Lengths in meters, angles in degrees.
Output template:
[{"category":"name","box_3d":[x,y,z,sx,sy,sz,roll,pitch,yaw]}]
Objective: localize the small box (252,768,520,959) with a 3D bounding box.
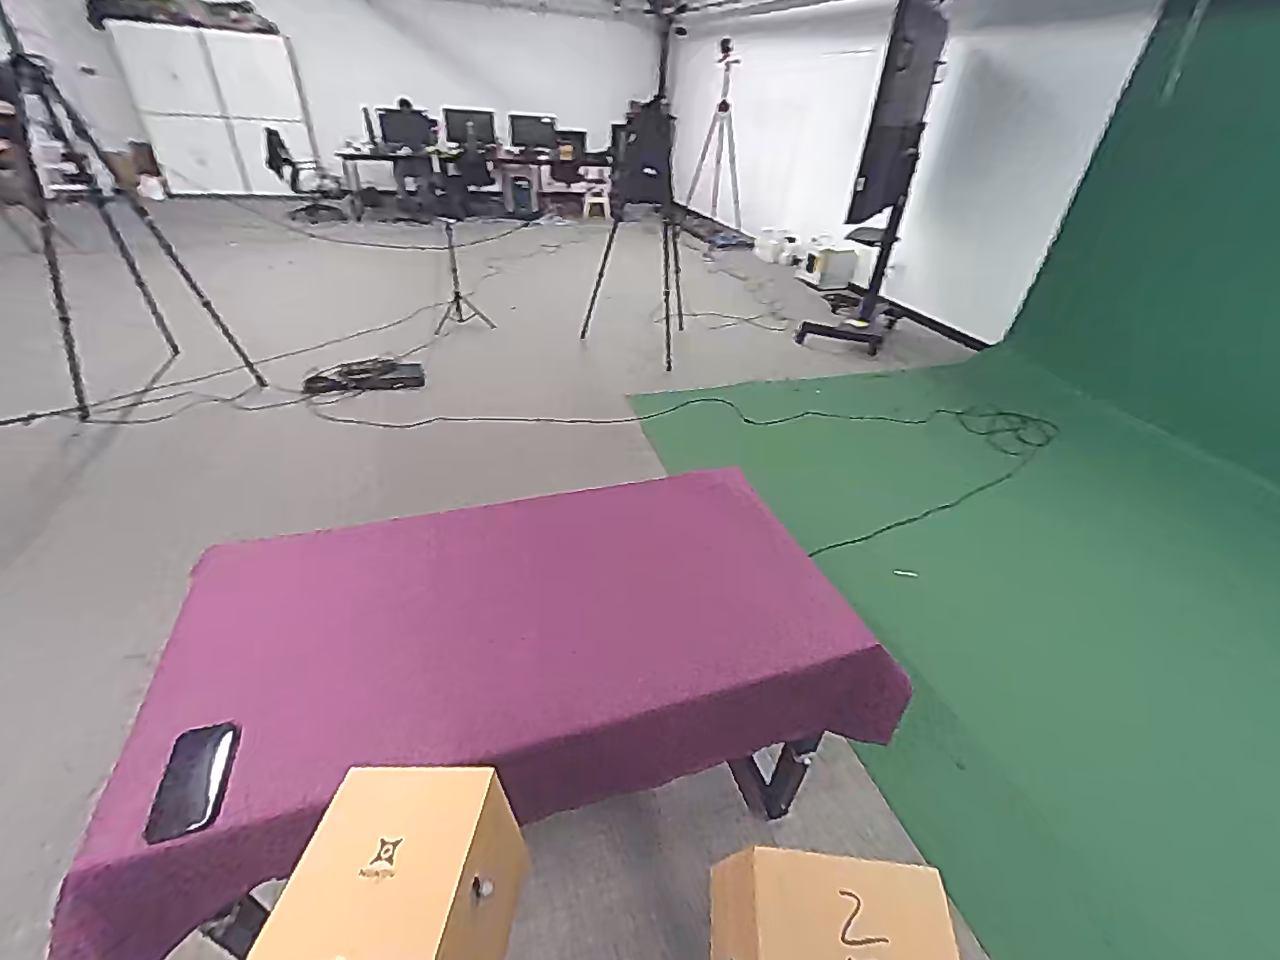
[{"category":"small box","box_3d":[-0.232,0.426,0.552,0.168,0.176,0.179,-4,31,6]}]
